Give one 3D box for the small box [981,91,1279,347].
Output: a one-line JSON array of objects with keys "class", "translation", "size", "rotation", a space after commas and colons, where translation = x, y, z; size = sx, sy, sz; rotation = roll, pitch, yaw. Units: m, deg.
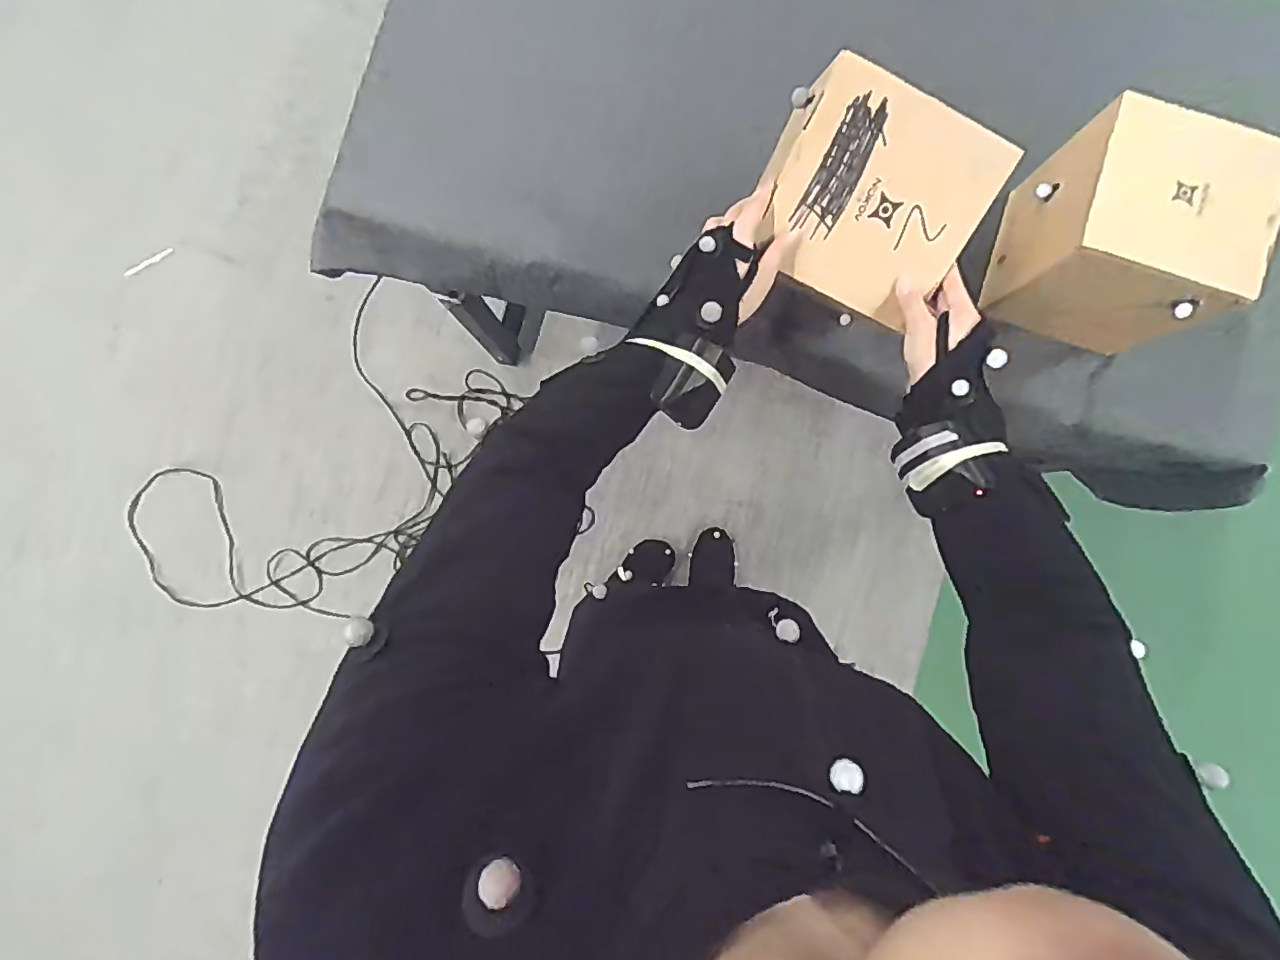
[{"class": "small box", "translation": [0.518, -0.264, 0.589], "size": [0.179, 0.176, 0.168], "rotation": [18, 86, 1]}]
